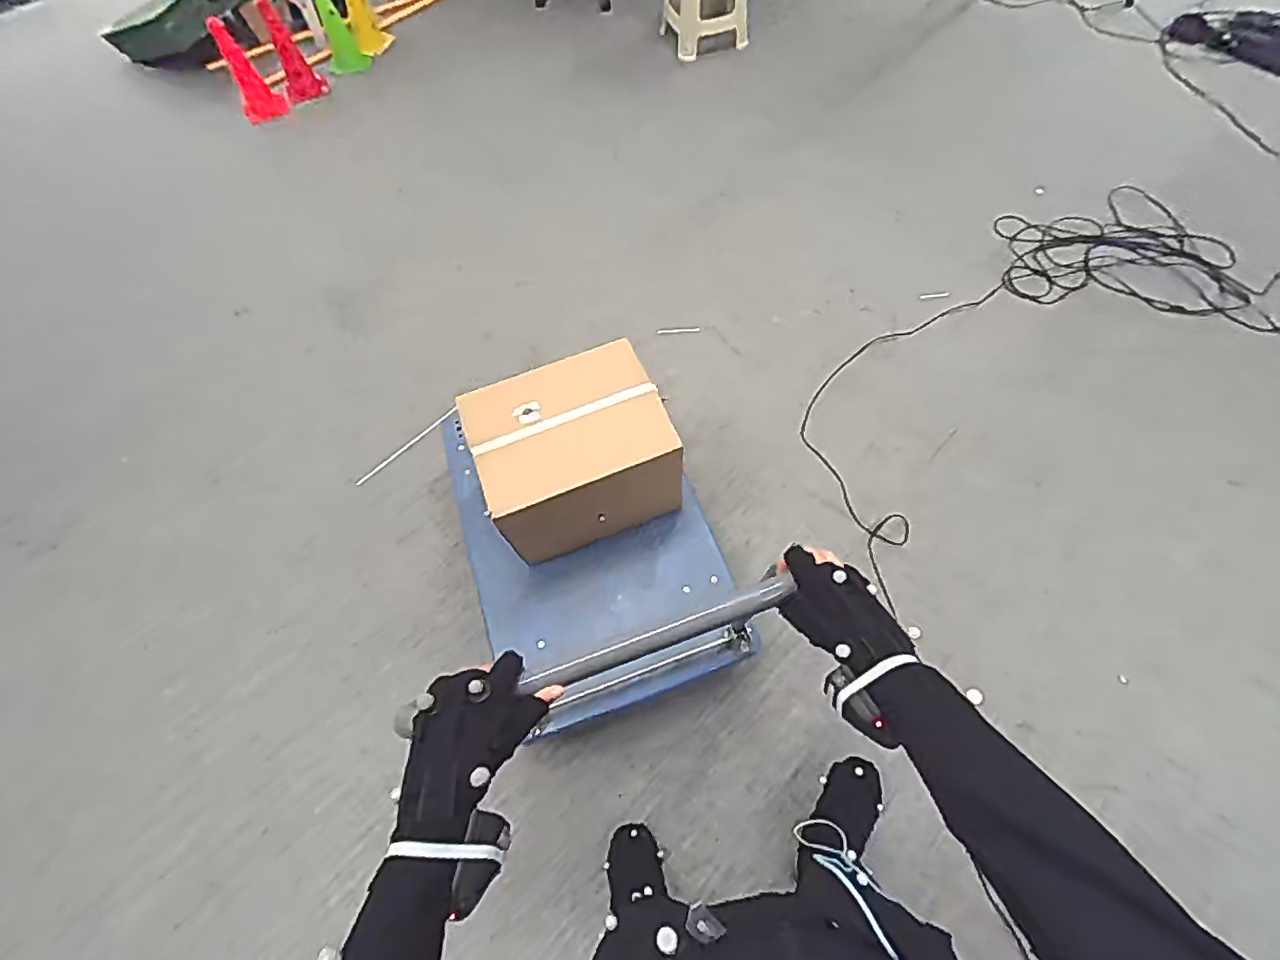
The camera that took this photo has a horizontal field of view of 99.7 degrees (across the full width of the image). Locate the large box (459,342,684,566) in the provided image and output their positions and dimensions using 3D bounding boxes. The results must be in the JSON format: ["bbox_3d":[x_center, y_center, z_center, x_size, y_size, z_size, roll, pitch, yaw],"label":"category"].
[{"bbox_3d":[-0.142,-0.049,1.265,0.408,0.320,0.320,-23,64,-7],"label":"large box"}]
